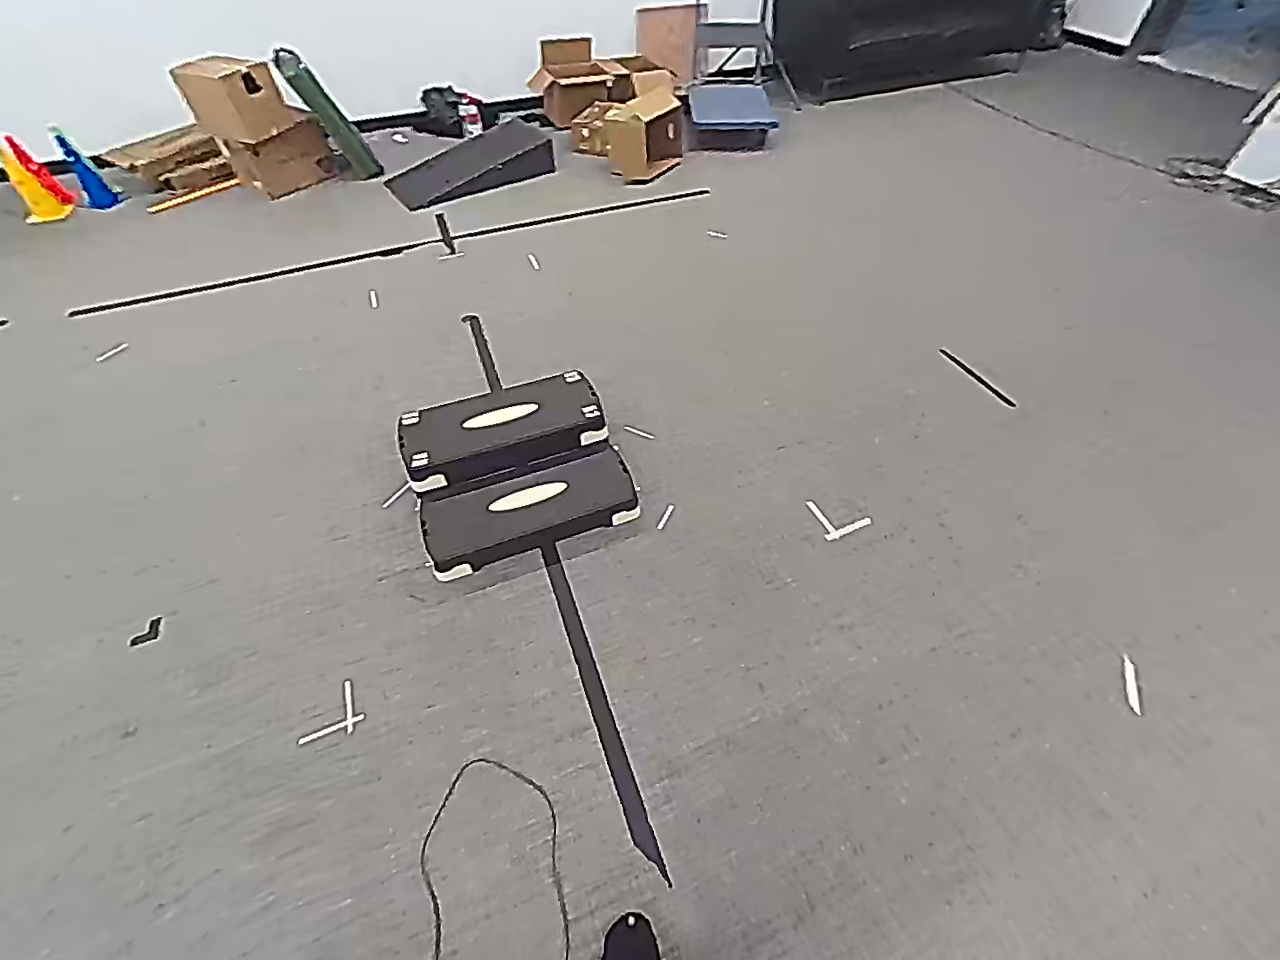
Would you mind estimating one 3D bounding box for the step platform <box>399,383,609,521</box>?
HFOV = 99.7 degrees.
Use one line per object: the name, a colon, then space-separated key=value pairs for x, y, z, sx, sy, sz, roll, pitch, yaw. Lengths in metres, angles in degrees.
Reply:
step platform: x=-0.458 y=-0.112 z=1.858 sx=0.684 sy=0.204 sz=0.286 roll=-18 pitch=52 yaw=-15
